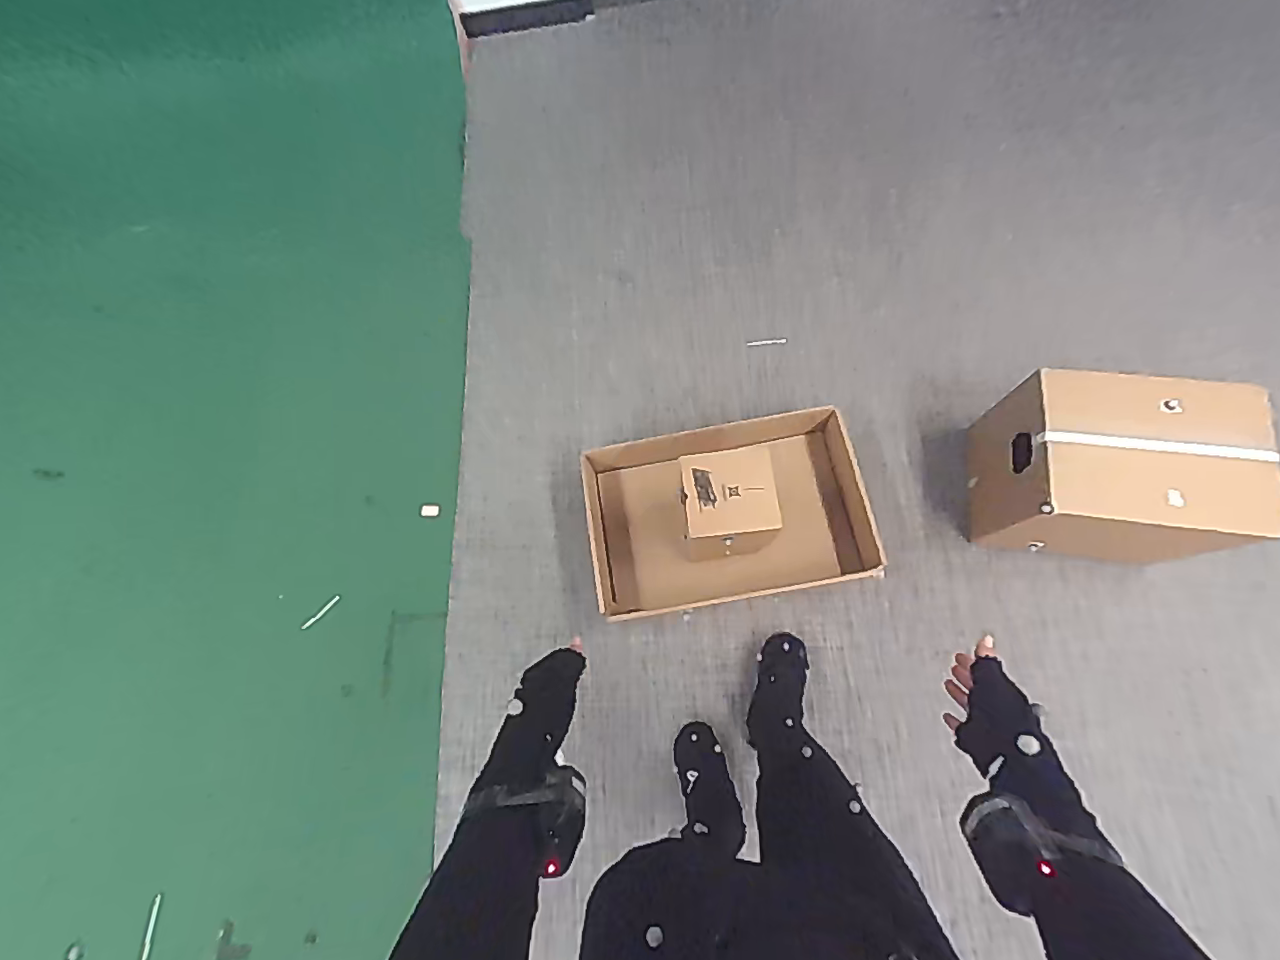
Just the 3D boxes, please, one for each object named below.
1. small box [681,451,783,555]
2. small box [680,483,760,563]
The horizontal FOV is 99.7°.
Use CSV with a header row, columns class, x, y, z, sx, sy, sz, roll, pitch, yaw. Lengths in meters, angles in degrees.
class,x,y,z,sx,sy,sz,roll,pitch,yaw
small box,0.179,0.054,1.101,0.179,0.176,0.168,-6,72,3
small box,0.192,0.093,1.261,0.179,0.176,0.168,-9,72,1
